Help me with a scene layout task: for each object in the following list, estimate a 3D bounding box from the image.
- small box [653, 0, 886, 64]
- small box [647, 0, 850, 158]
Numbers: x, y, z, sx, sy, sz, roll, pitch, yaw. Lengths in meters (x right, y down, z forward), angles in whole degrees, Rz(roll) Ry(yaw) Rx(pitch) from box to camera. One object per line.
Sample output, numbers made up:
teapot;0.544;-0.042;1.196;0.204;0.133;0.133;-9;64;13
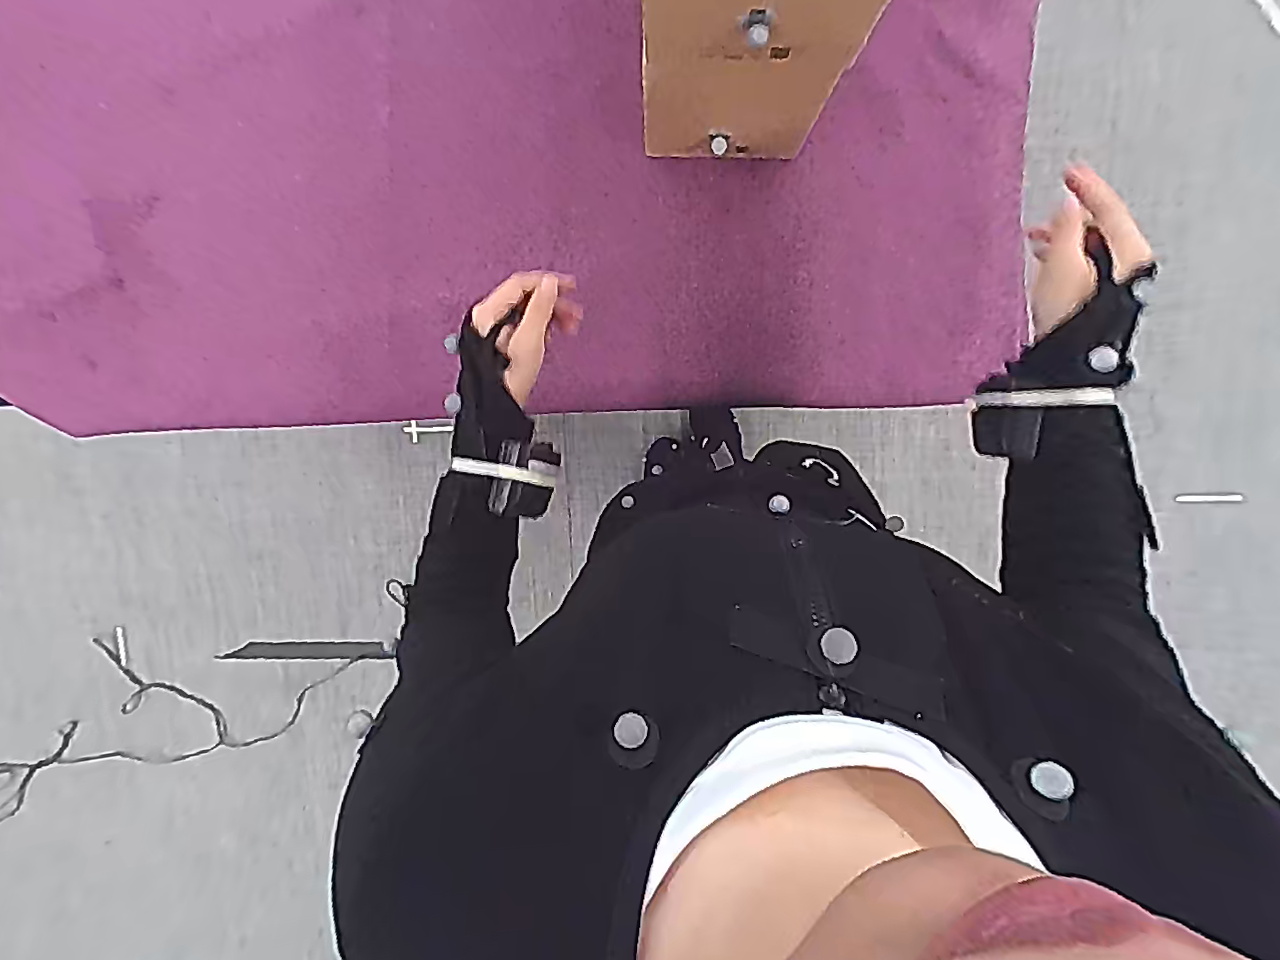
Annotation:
small box;0.090;-0.408;0.337;0.168;0.176;0.179;2;98;3
small box;0.093;-0.432;0.501;0.168;0.176;0.179;3;99;2
